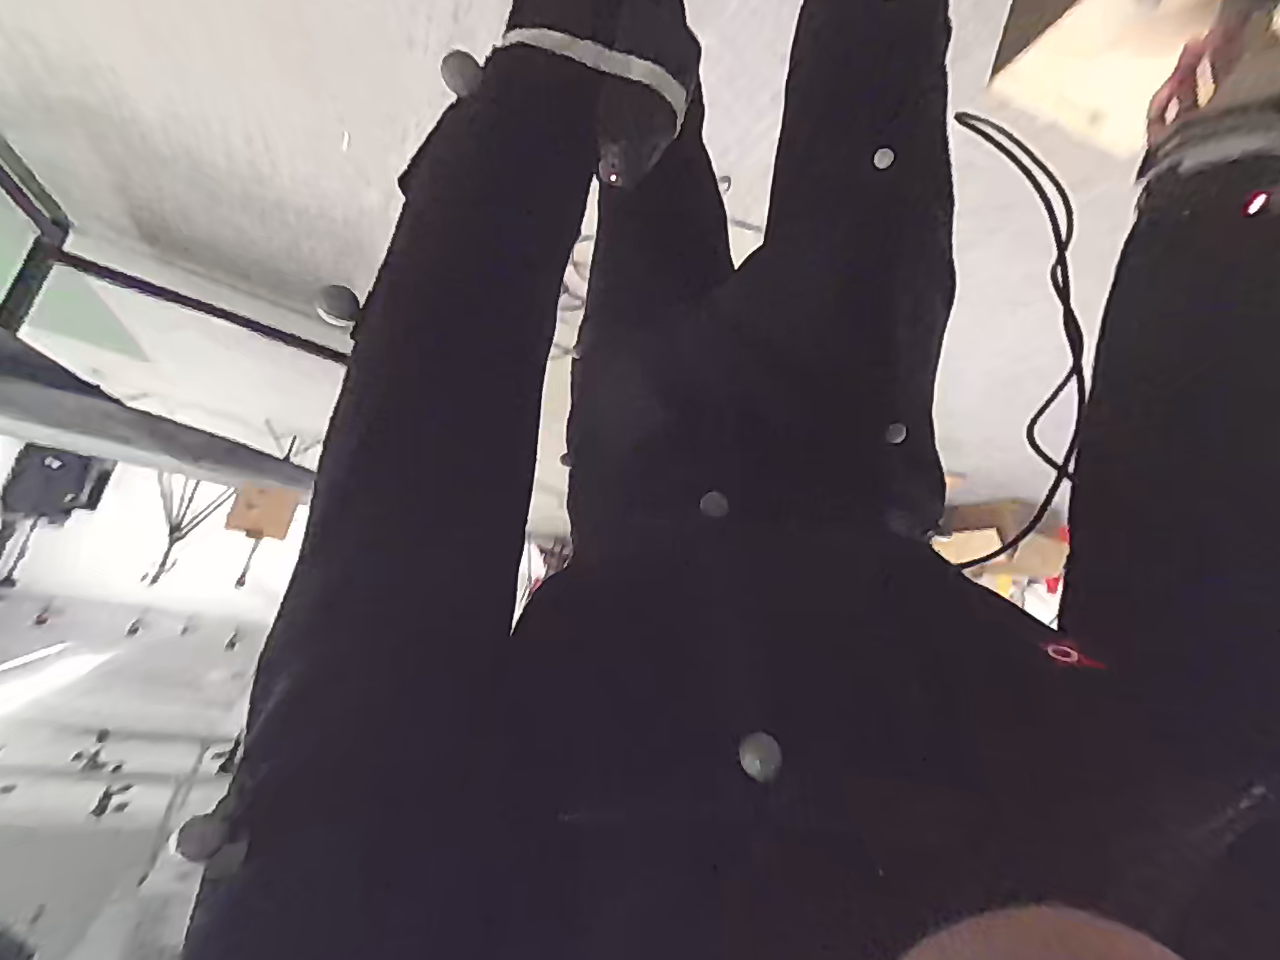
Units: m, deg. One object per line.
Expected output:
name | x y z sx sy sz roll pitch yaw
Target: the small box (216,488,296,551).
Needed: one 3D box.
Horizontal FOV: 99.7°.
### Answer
small box | -1.229 0.128 1.740 0.168 0.176 0.179 22 164 -29
